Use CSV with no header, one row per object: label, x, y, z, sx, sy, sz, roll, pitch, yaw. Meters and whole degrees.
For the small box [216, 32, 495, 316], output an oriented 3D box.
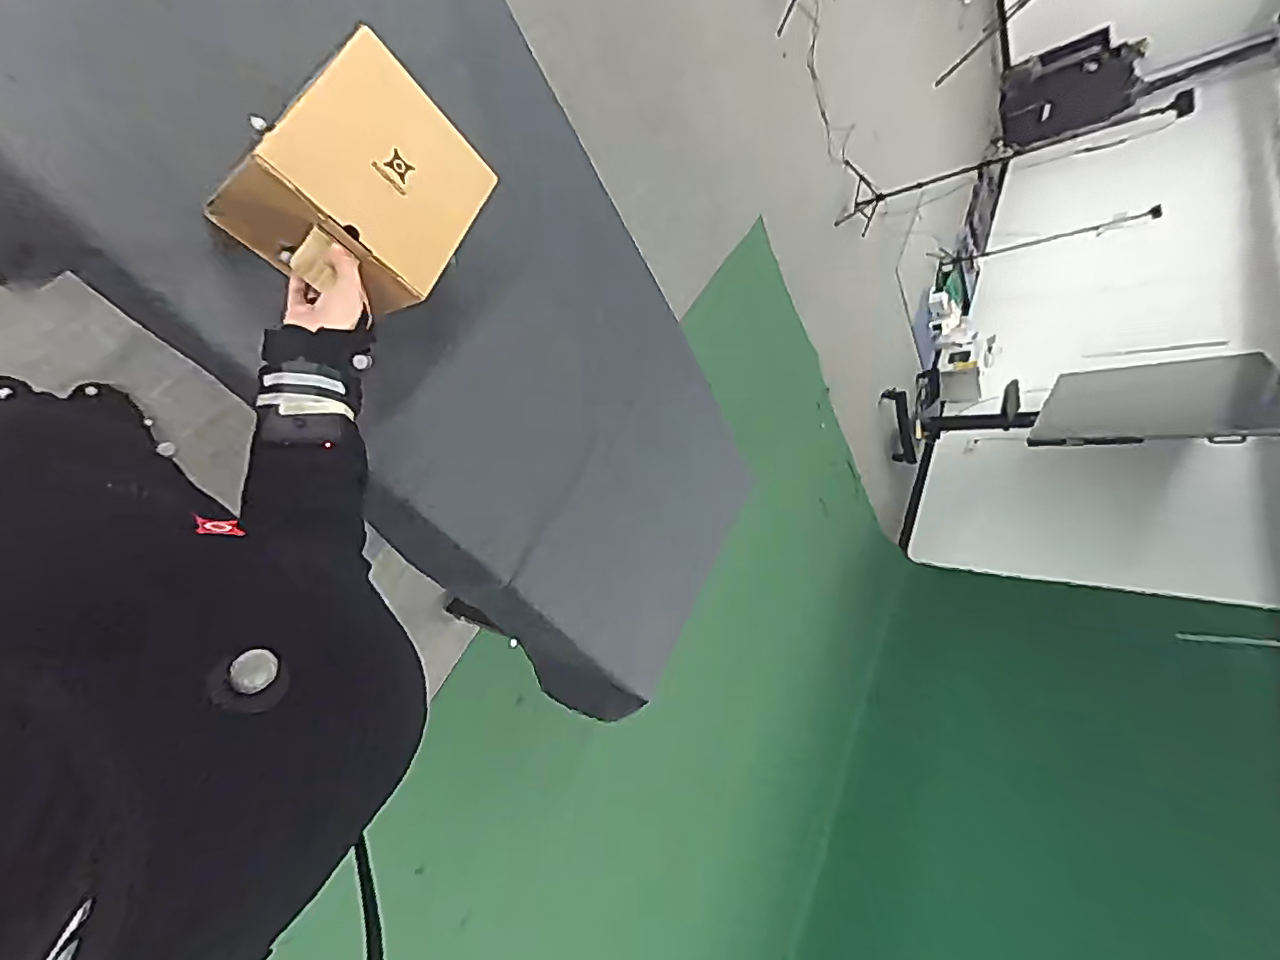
small box,-0.291,-0.296,0.560,0.168,0.176,0.179,40,64,-45
